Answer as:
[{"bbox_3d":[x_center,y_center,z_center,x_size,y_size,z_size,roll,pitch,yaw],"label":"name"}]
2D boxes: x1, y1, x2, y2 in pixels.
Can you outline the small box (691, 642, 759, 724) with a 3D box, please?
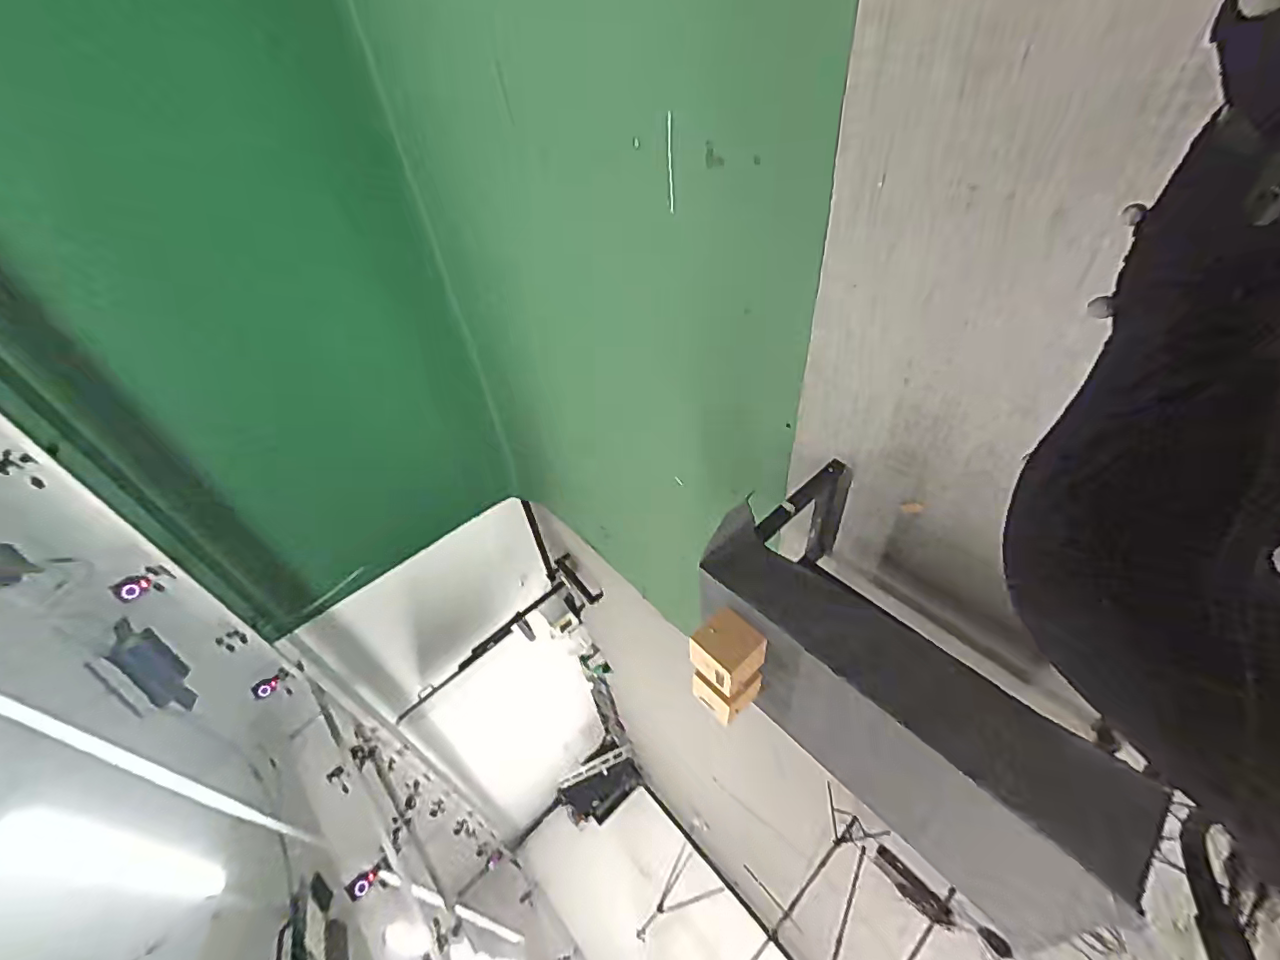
[{"bbox_3d":[0.296,0.706,1.884,0.168,0.176,0.179,37,148,32],"label":"small box"}]
